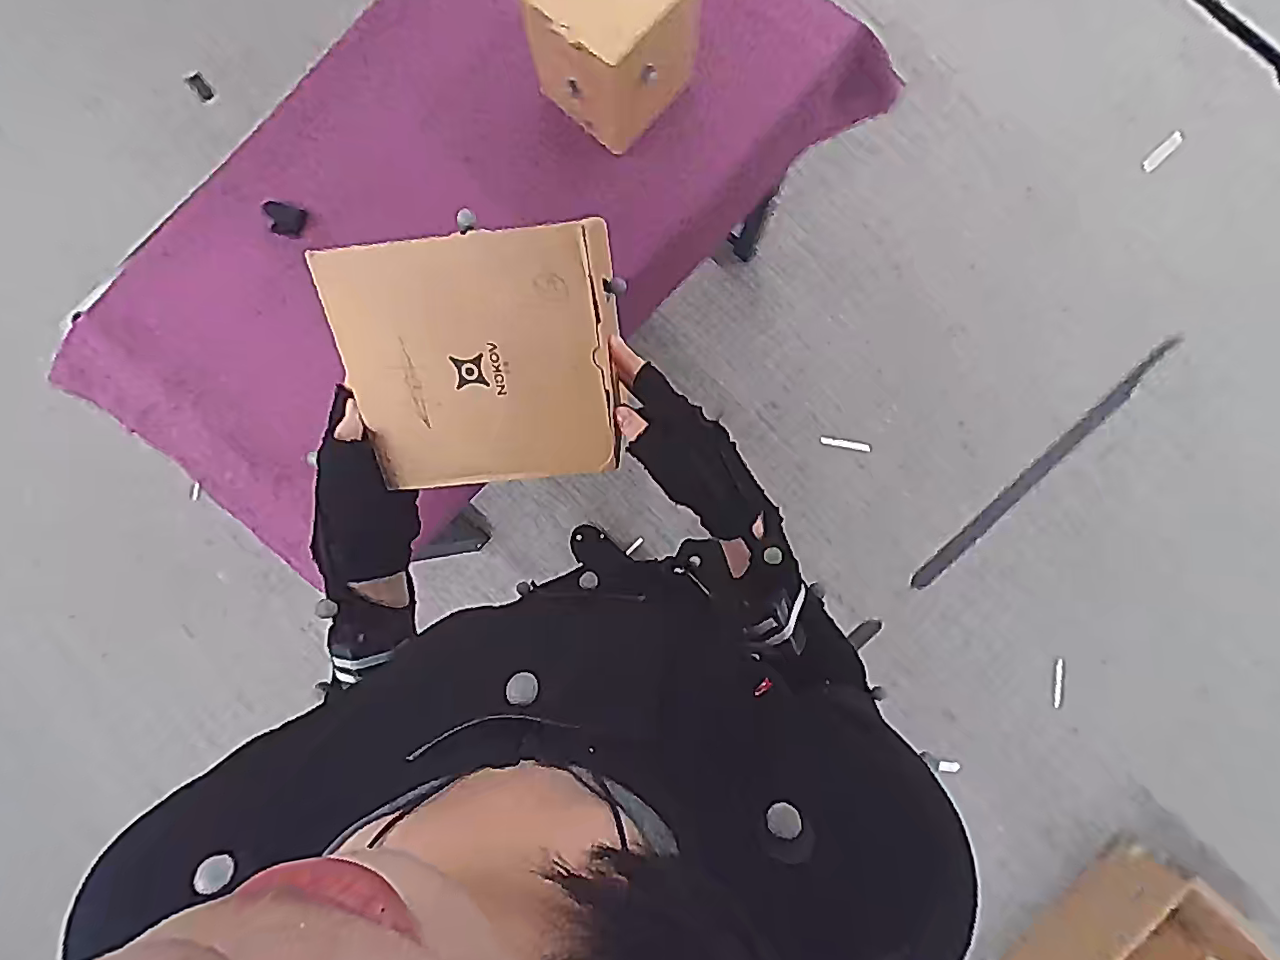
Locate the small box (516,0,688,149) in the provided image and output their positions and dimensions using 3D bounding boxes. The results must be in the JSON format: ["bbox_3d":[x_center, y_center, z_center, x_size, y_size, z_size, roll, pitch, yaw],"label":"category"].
[{"bbox_3d":[-0.042,-0.630,0.775,0.168,0.176,0.179,42,88,4],"label":"small box"}]

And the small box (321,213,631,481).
[{"bbox_3d":[-0.100,-0.112,0.427,0.179,0.176,0.168,-5,114,4],"label":"small box"}]
